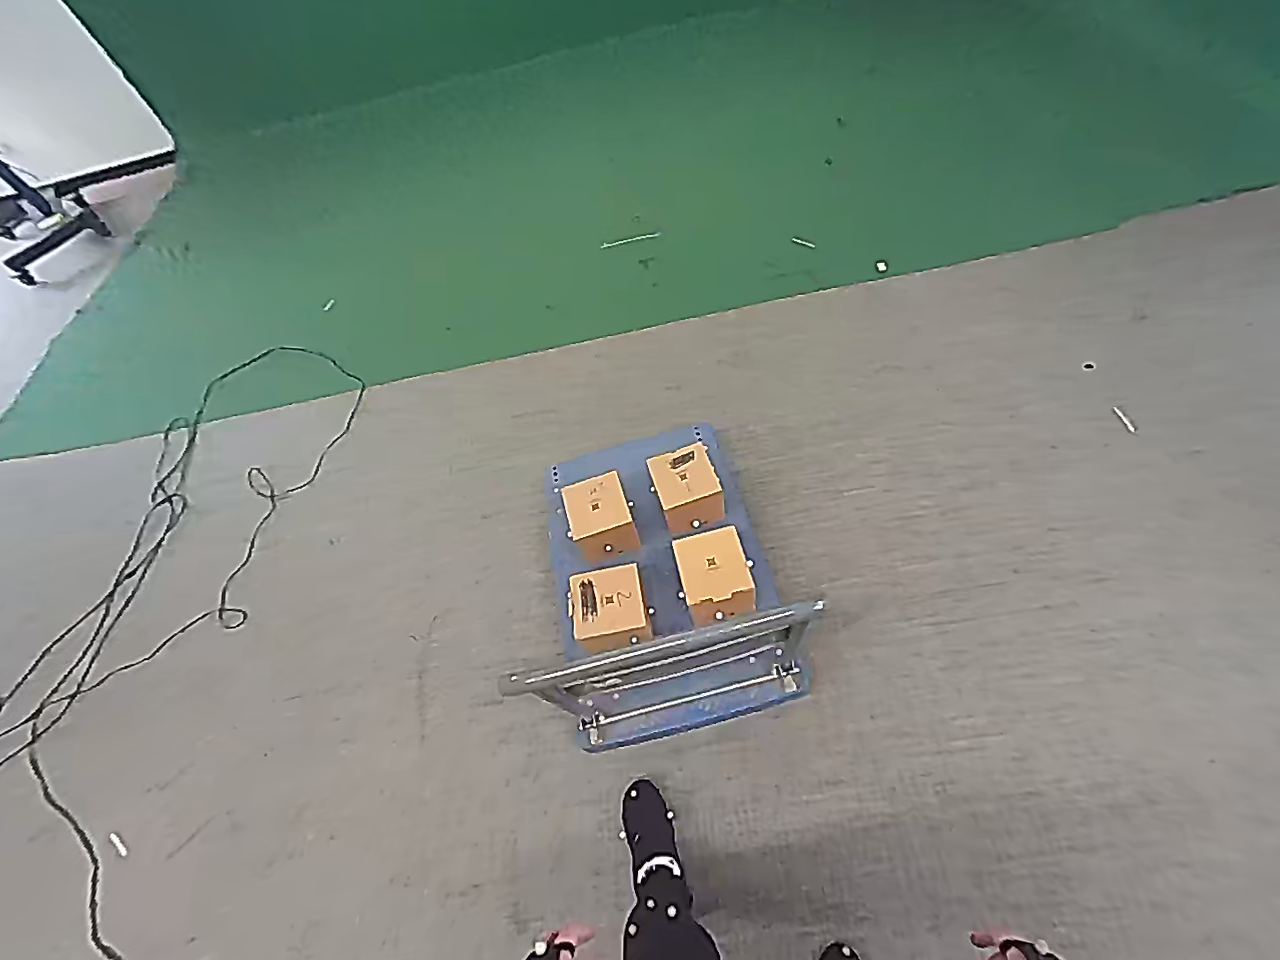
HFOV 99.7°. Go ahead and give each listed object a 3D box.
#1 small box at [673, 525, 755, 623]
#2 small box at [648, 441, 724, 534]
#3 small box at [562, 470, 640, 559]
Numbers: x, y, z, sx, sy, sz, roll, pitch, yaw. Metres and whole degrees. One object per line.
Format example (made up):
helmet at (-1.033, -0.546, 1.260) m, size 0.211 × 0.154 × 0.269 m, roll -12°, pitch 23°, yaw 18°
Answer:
small box at (0.188, 0.244, 1.383) m, size 0.168 × 0.176 × 0.179 m, roll -14°, pitch 57°, yaw 2°
small box at (0.131, 0.024, 1.530) m, size 0.168 × 0.176 × 0.179 m, roll -19°, pitch 58°, yaw 0°
small box at (-0.107, 0.105, 1.527) m, size 0.168 × 0.176 × 0.179 m, roll -18°, pitch 56°, yaw -1°
